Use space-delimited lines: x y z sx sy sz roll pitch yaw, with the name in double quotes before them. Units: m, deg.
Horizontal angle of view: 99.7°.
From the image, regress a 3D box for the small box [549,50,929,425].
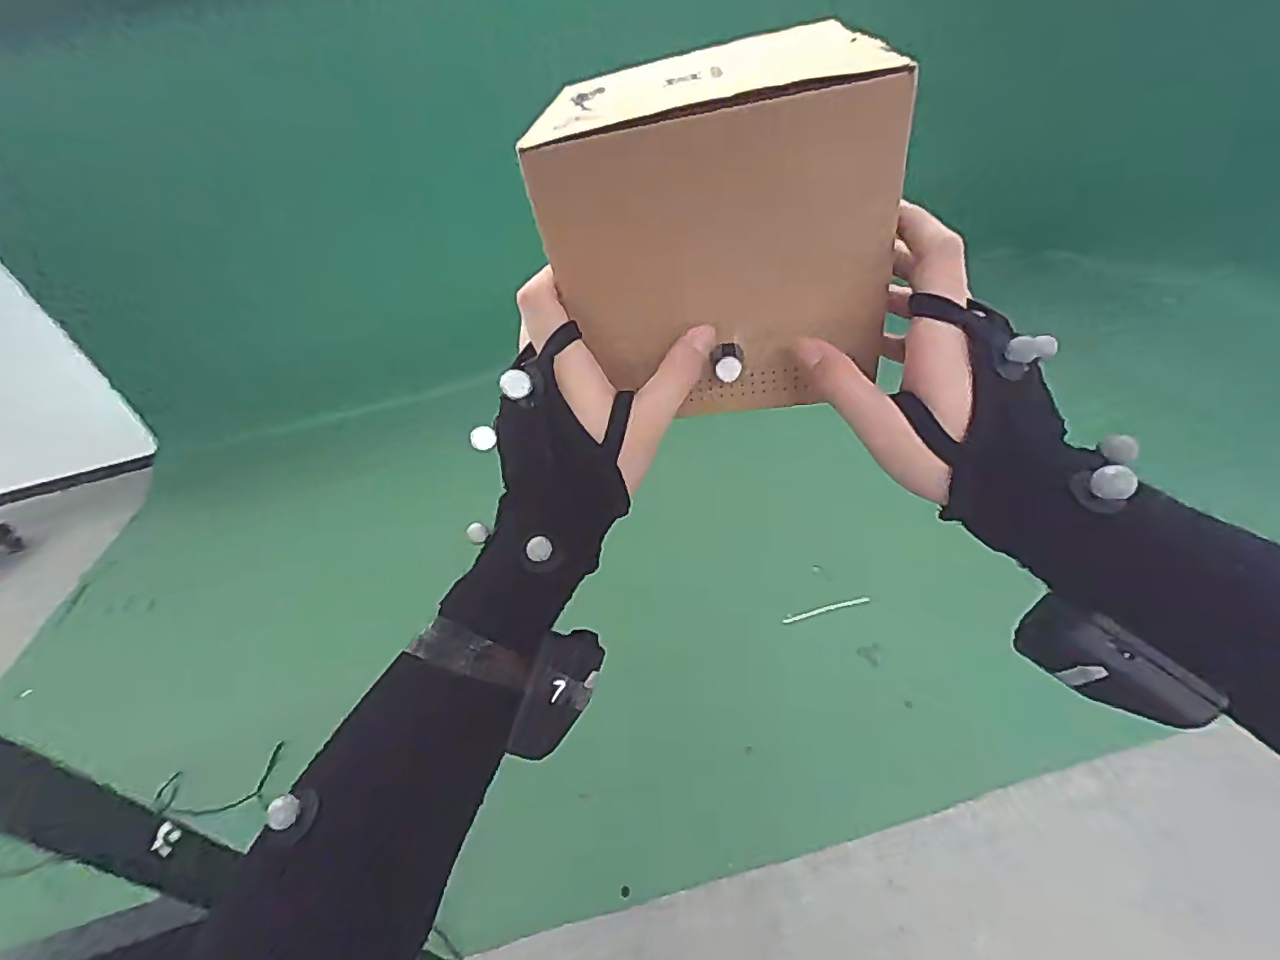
"small box" 0.058 -0.154 0.357 0.179 0.176 0.168 -5 42 9
